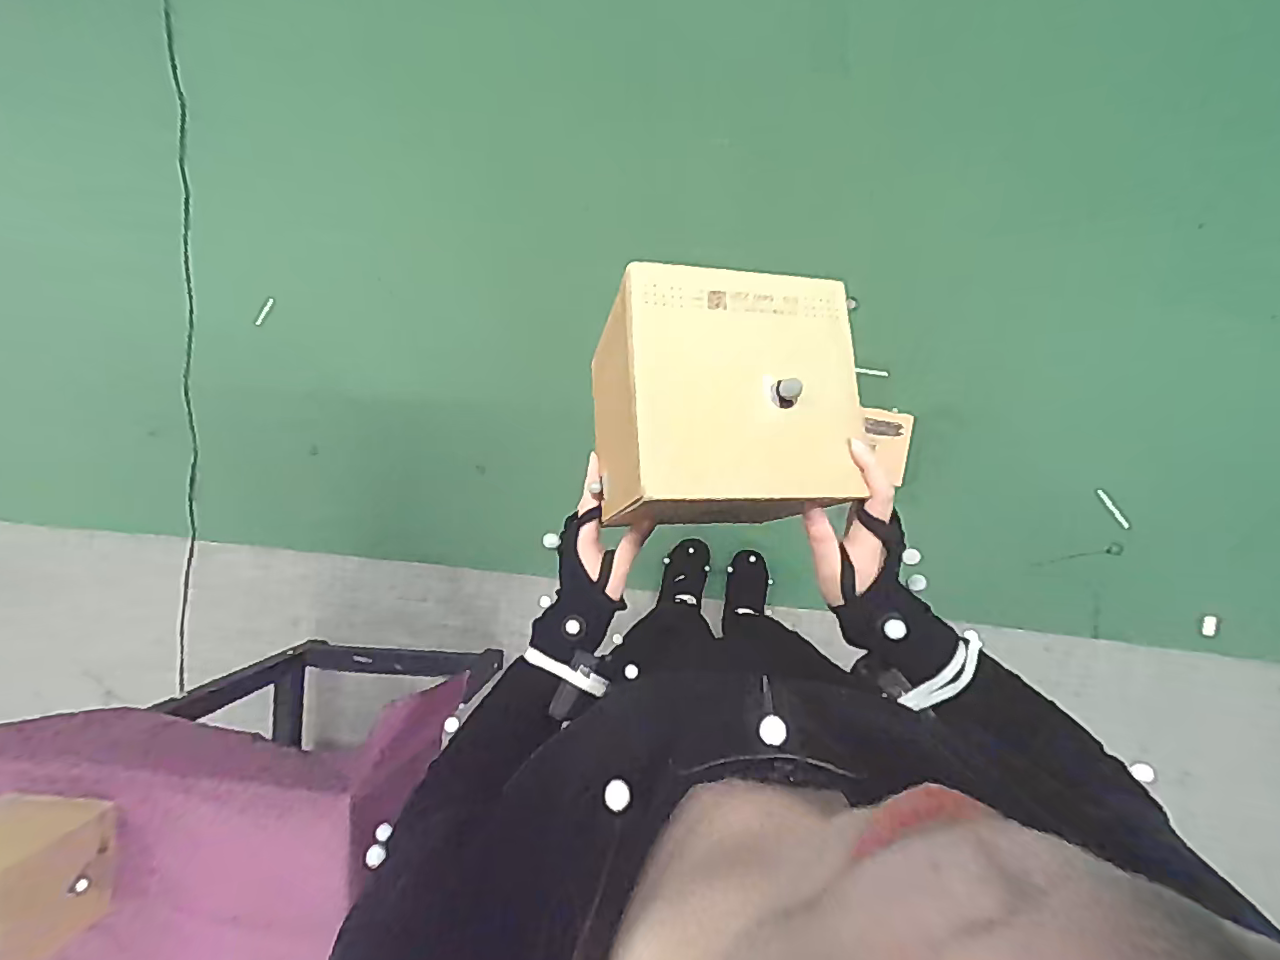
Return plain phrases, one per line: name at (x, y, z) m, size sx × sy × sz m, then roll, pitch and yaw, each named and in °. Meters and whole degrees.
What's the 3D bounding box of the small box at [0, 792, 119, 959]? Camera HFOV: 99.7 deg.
small box at (-0.878, 0.555, 0.733) m, size 0.179 × 0.176 × 0.168 m, roll 5°, pitch 90°, yaw 1°
